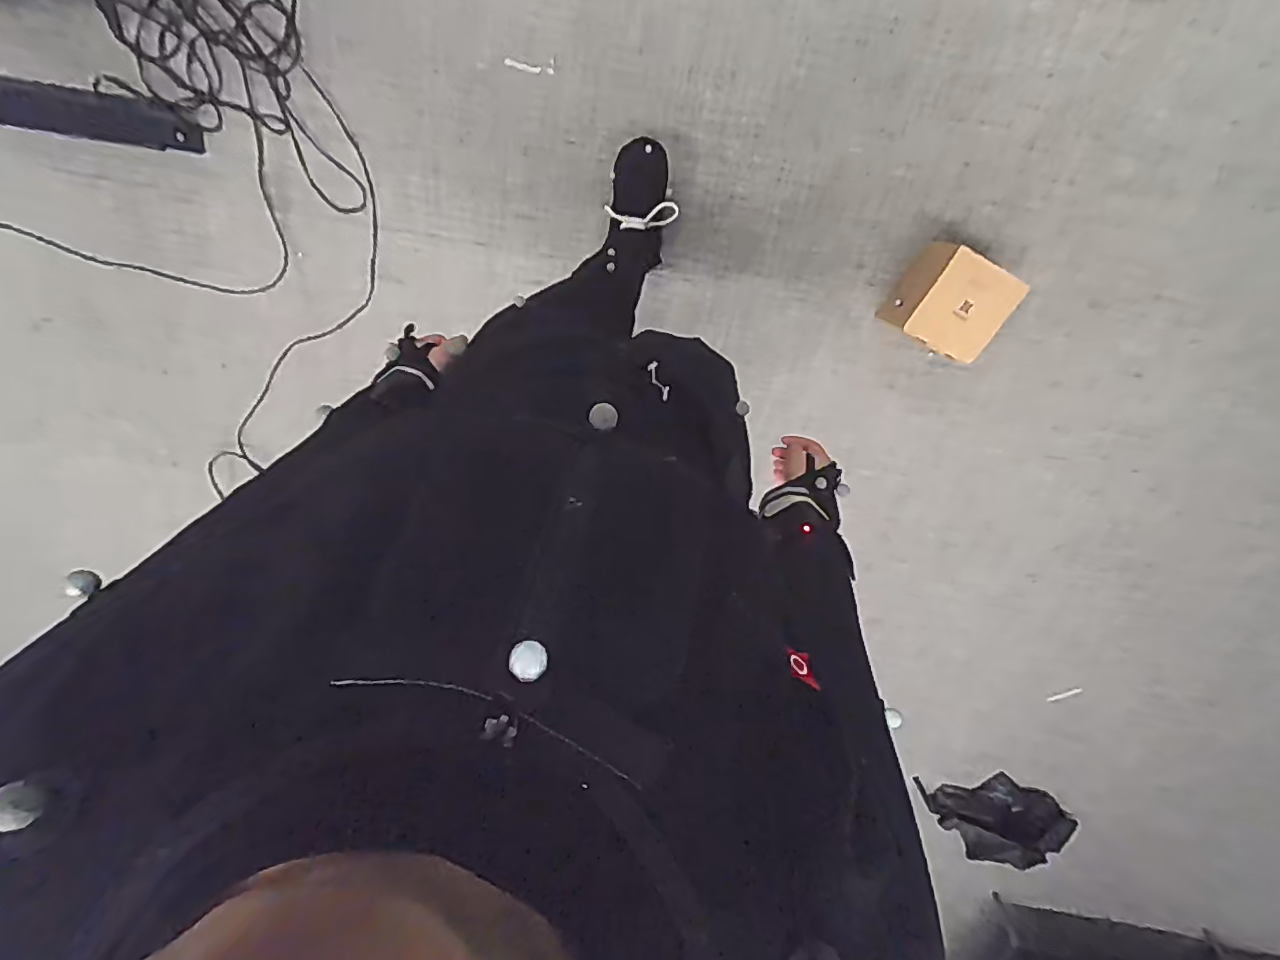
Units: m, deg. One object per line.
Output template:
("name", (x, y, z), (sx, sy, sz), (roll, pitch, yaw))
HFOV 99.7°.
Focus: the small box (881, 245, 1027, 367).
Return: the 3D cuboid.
("small box", (0.627, -0.362, 1.113), (0.168, 0.176, 0.179), (25, 113, -8))
